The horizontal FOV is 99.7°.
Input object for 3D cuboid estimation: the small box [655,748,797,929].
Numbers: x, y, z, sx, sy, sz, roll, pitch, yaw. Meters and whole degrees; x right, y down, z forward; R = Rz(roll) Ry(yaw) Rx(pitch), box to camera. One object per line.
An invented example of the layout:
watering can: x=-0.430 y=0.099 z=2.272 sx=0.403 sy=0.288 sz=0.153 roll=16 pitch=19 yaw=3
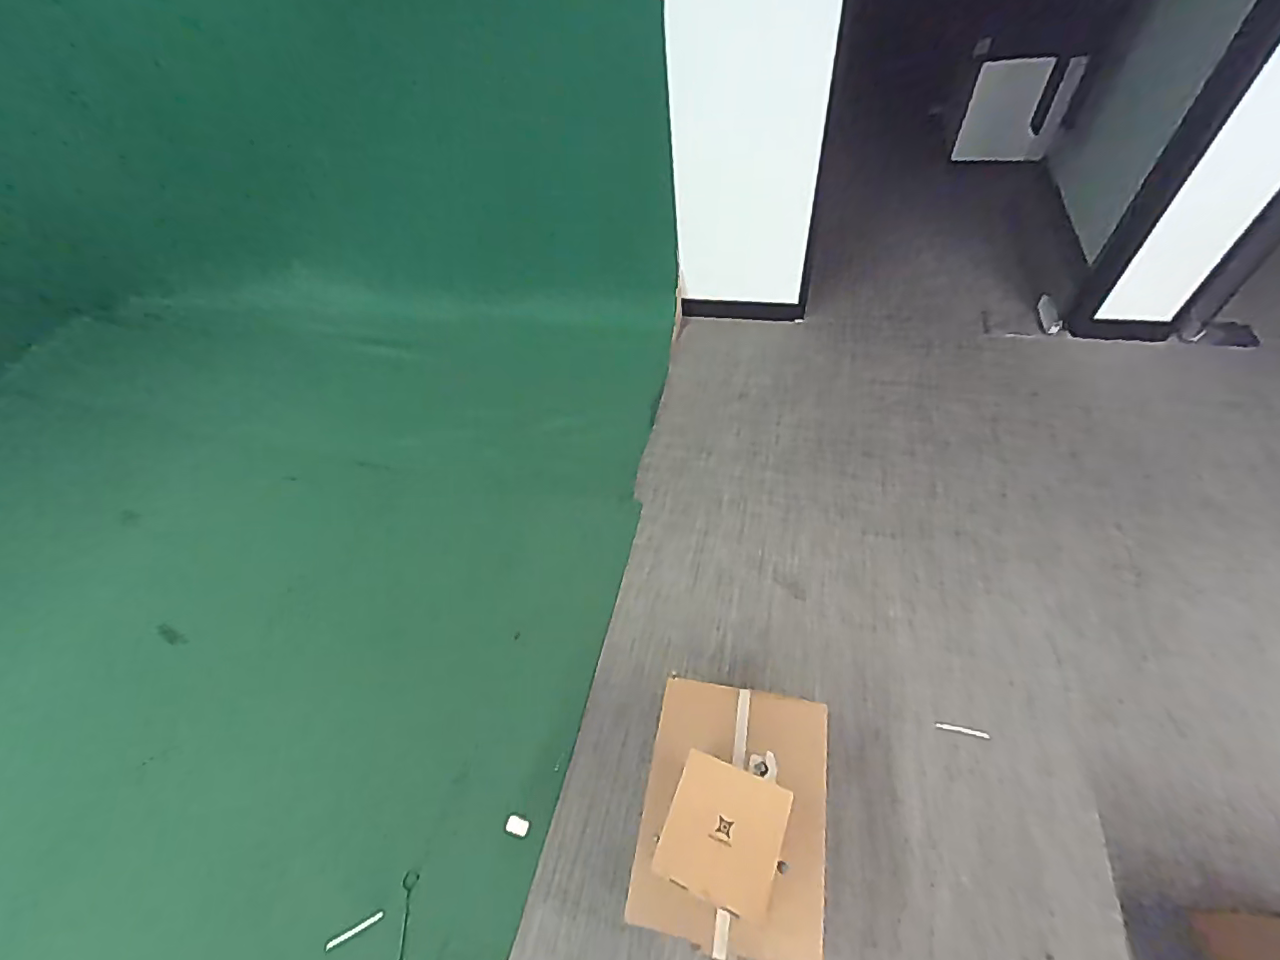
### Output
small box: x=0.136 y=0.556 z=0.849 sx=0.168 sy=0.176 sz=0.179 roll=15 pitch=58 yaw=19

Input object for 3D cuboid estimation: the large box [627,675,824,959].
large box: x=0.182 y=0.658 z=1.072 sx=0.320 sy=0.320 sz=0.408 roll=6 pitch=55 yaw=12
